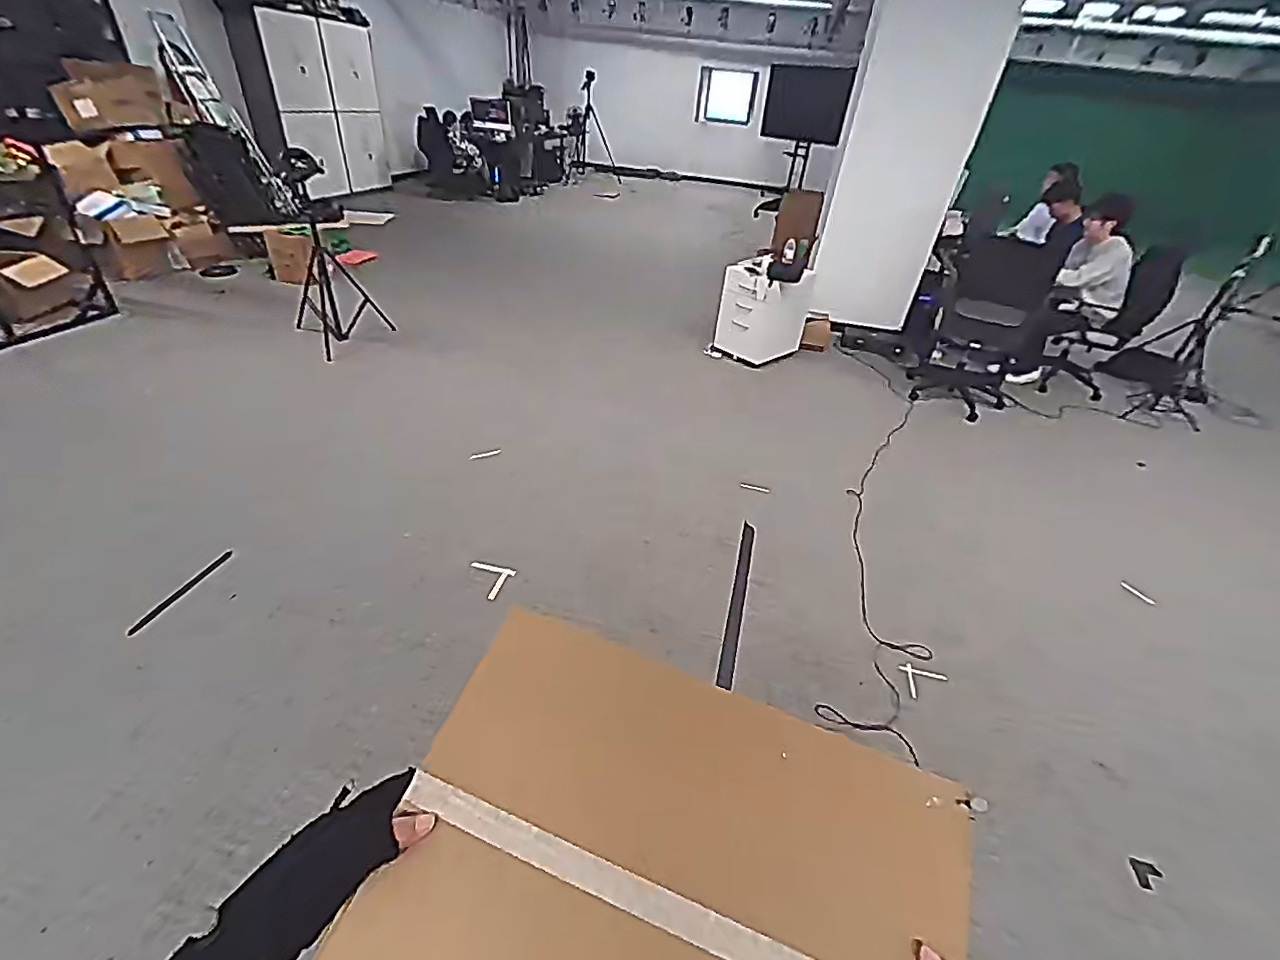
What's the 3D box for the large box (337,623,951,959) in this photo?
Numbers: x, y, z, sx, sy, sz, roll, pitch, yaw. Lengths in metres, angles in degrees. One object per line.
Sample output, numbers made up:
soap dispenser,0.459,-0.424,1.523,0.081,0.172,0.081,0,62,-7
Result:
large box,0.009,0.394,0.511,0.408,0.320,0.320,19,55,10
